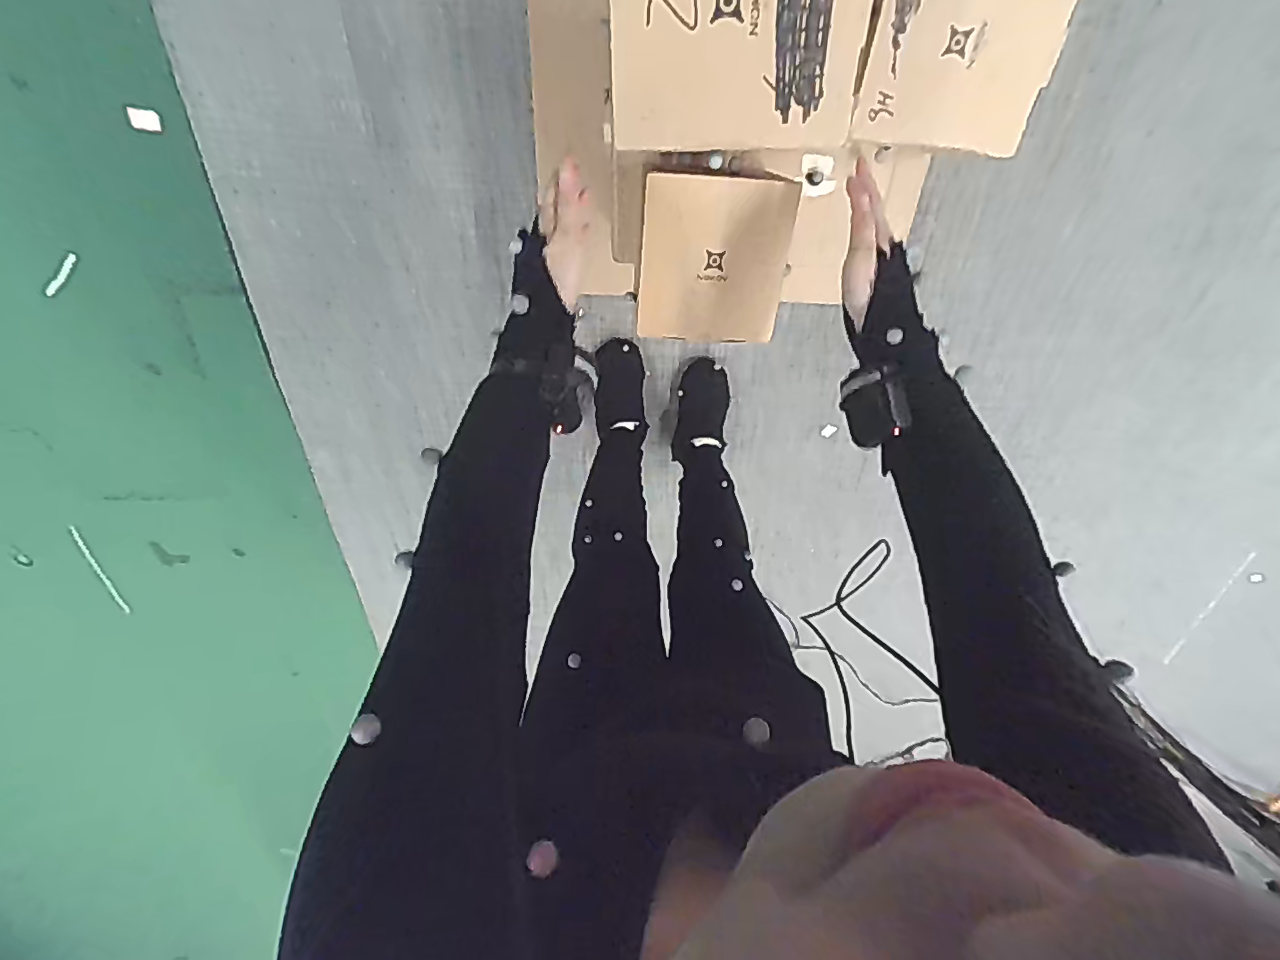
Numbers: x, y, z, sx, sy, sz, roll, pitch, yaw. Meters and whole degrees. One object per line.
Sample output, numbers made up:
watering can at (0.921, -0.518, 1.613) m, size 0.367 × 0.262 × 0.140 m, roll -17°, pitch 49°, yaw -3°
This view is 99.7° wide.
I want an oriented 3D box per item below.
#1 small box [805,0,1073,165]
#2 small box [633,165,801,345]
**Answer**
small box at (0.297, -0.442, 0.571) m, size 0.179 × 0.176 × 0.168 m, roll 6°, pitch 122°, yaw -3°
small box at (0.079, -0.282, 0.668) m, size 0.168 × 0.176 × 0.179 m, roll 2°, pitch 124°, yaw -3°
